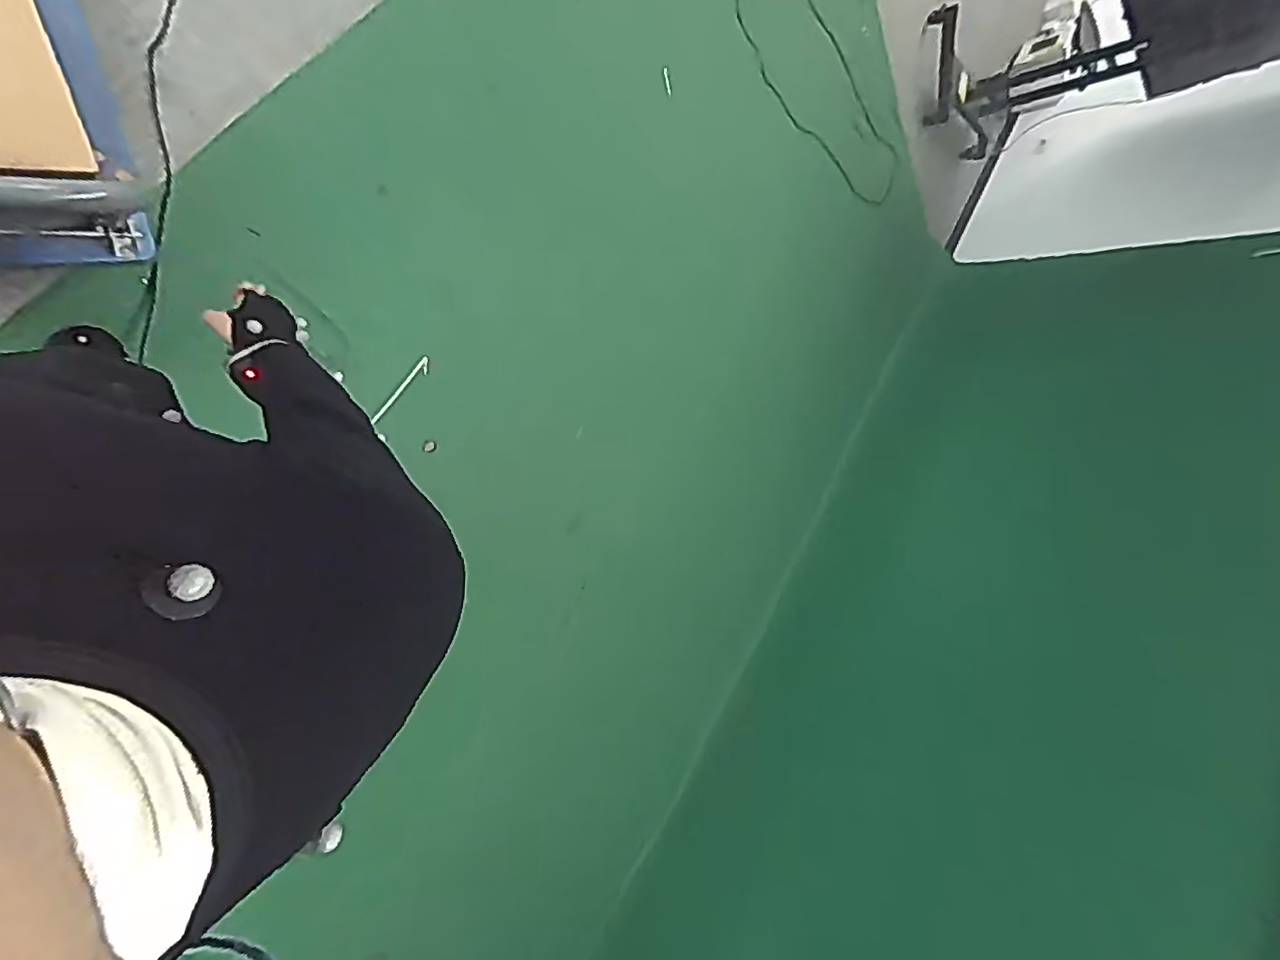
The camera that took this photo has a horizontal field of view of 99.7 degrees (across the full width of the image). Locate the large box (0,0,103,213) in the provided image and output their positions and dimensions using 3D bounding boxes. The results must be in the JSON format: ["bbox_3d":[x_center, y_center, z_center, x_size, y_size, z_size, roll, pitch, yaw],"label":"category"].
[{"bbox_3d":[-1.057,-0.620,0.764,0.320,0.320,0.408,-24,114,-39],"label":"large box"}]
